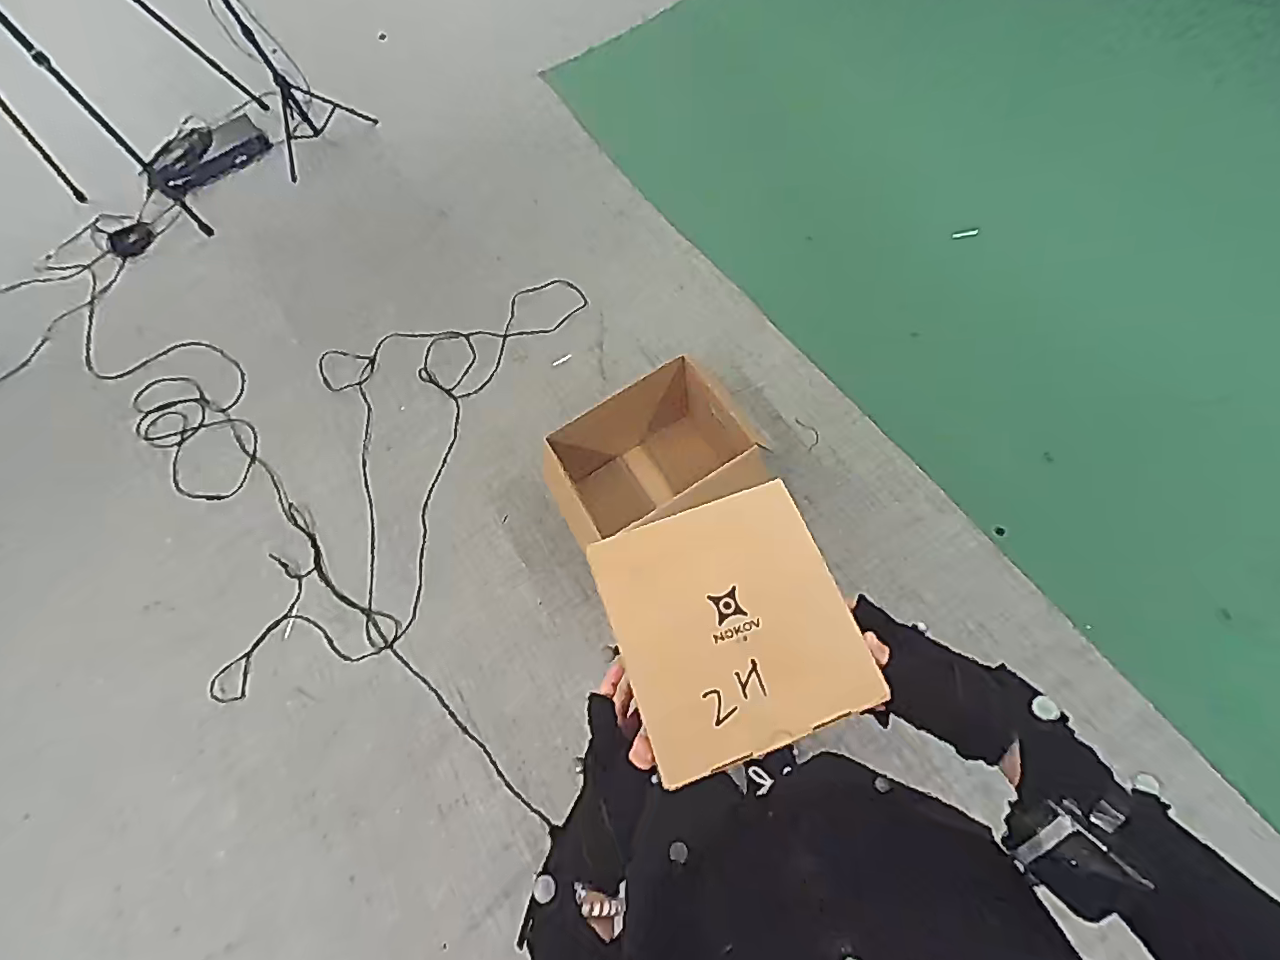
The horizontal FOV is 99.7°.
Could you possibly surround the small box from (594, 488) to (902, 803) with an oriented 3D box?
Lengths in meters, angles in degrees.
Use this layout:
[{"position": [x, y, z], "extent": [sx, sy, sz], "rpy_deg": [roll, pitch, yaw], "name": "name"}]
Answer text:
[{"position": [0.068, 0.135, 0.448], "extent": [0.168, 0.176, 0.179], "rpy_deg": [-19, 68, -7], "name": "small box"}]
